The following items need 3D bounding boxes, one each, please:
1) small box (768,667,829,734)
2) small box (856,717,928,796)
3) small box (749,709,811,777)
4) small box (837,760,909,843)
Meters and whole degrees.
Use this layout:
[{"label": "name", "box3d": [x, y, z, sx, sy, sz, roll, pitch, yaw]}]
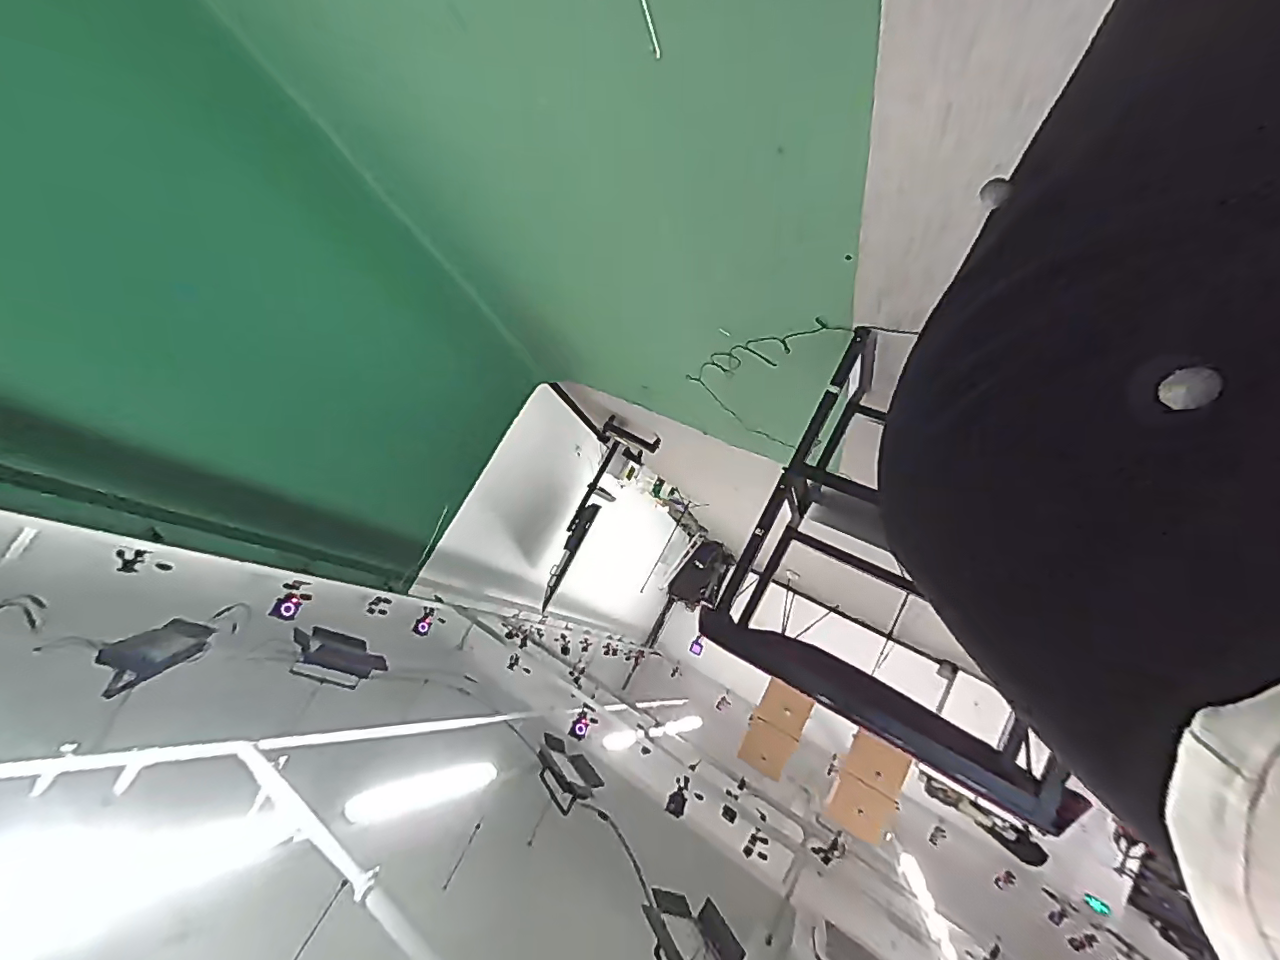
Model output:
[{"label": "small box", "box3d": [0.607, 0.834, 2.062, 0.179, 0.176, 0.168, 25, 170, 24]}, {"label": "small box", "box3d": [0.883, 0.963, 1.899, 0.179, 0.176, 0.168, 26, 171, 25]}, {"label": "small box", "box3d": [0.533, 0.978, 2.040, 0.179, 0.176, 0.168, 26, 172, 23]}, {"label": "small box", "box3d": [0.803, 1.105, 1.877, 0.179, 0.176, 0.168, 24, 171, 25]}]
